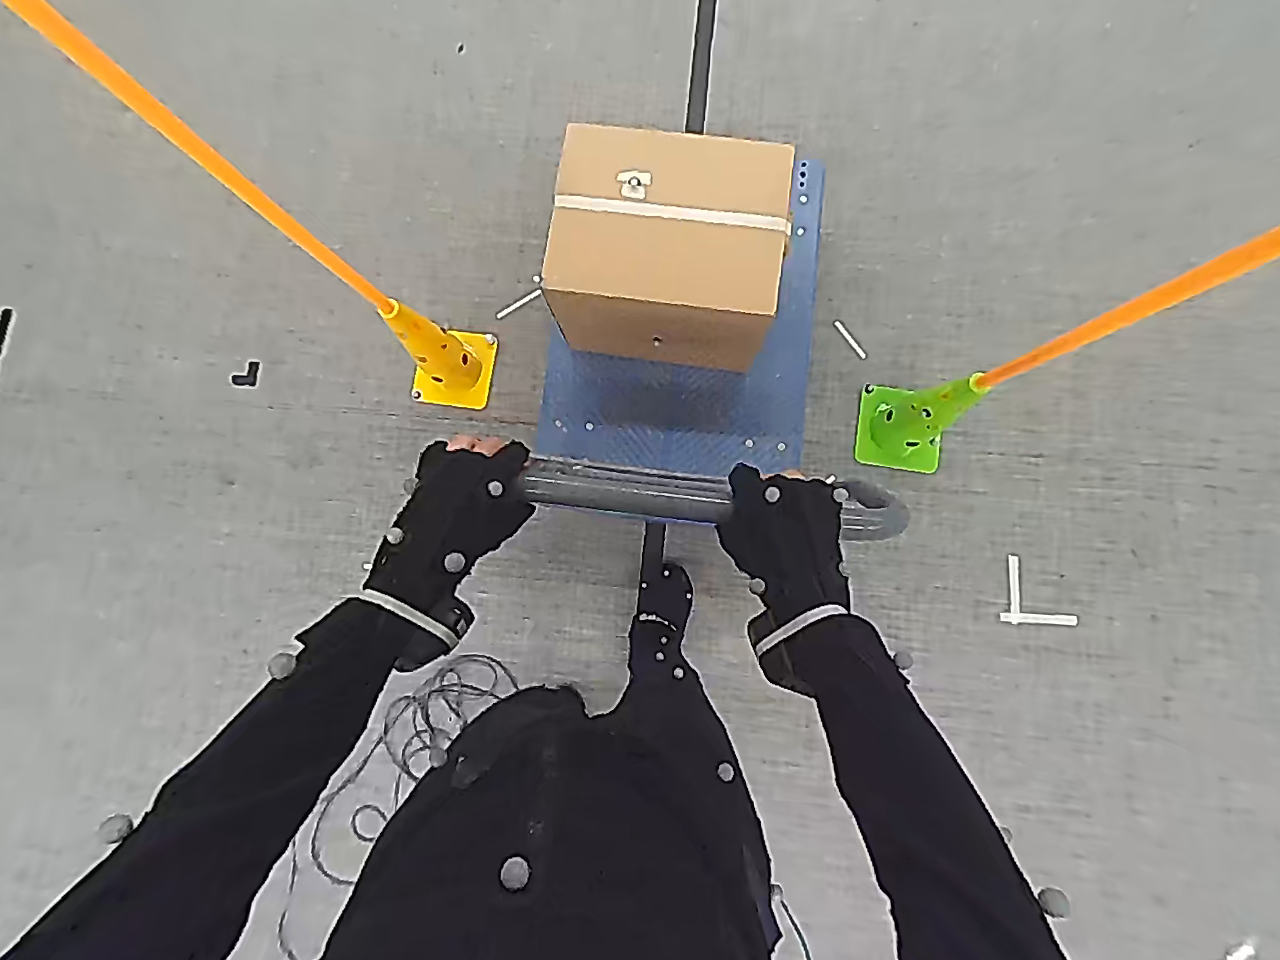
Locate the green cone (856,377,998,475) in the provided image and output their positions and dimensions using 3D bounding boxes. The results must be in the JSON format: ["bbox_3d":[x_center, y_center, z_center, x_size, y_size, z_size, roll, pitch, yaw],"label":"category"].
[{"bbox_3d":[0.635,-0.143,1.165,0.202,0.368,0.200,9,83,3],"label":"green cone"}]

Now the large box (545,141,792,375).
[{"bbox_3d":[0.061,-0.419,1.088,0.408,0.320,0.320,8,83,5],"label":"large box"}]
